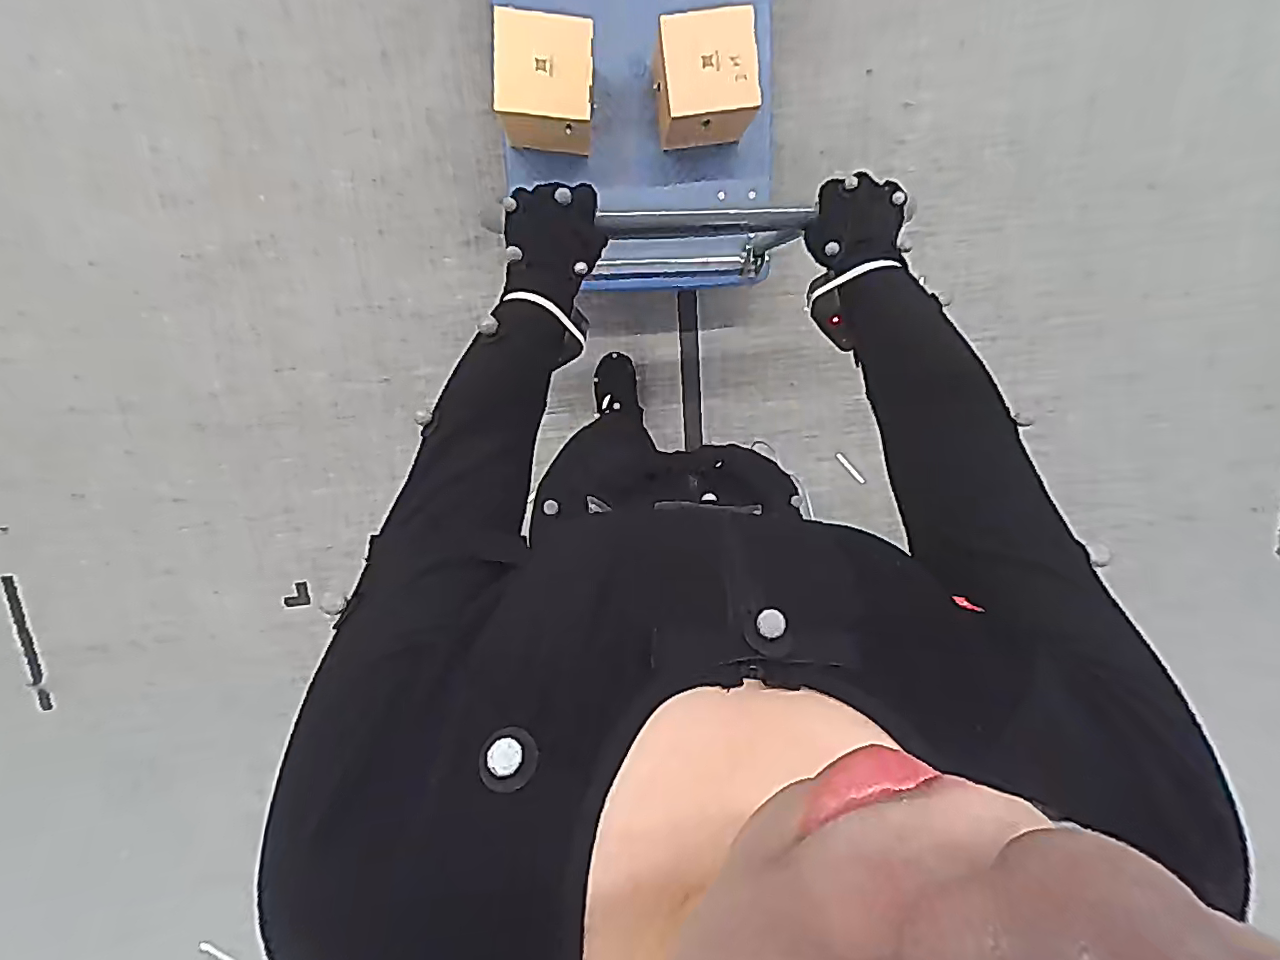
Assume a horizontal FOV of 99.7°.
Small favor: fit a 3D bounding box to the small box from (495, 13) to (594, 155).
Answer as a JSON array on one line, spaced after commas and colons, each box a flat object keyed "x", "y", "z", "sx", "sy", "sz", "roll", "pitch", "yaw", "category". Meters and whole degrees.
[{"x": -0.181, "y": -0.758, "z": 1.055, "sx": 0.179, "sy": 0.176, "sz": 0.168, "roll": 2, "pitch": 102, "yaw": -7, "category": "small box"}]

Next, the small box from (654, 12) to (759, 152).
[{"x": 0.123, "y": -0.778, "z": 1.076, "sx": 0.179, "sy": 0.176, "sz": 0.168, "roll": -9, "pitch": 103, "yaw": -3, "category": "small box"}]
